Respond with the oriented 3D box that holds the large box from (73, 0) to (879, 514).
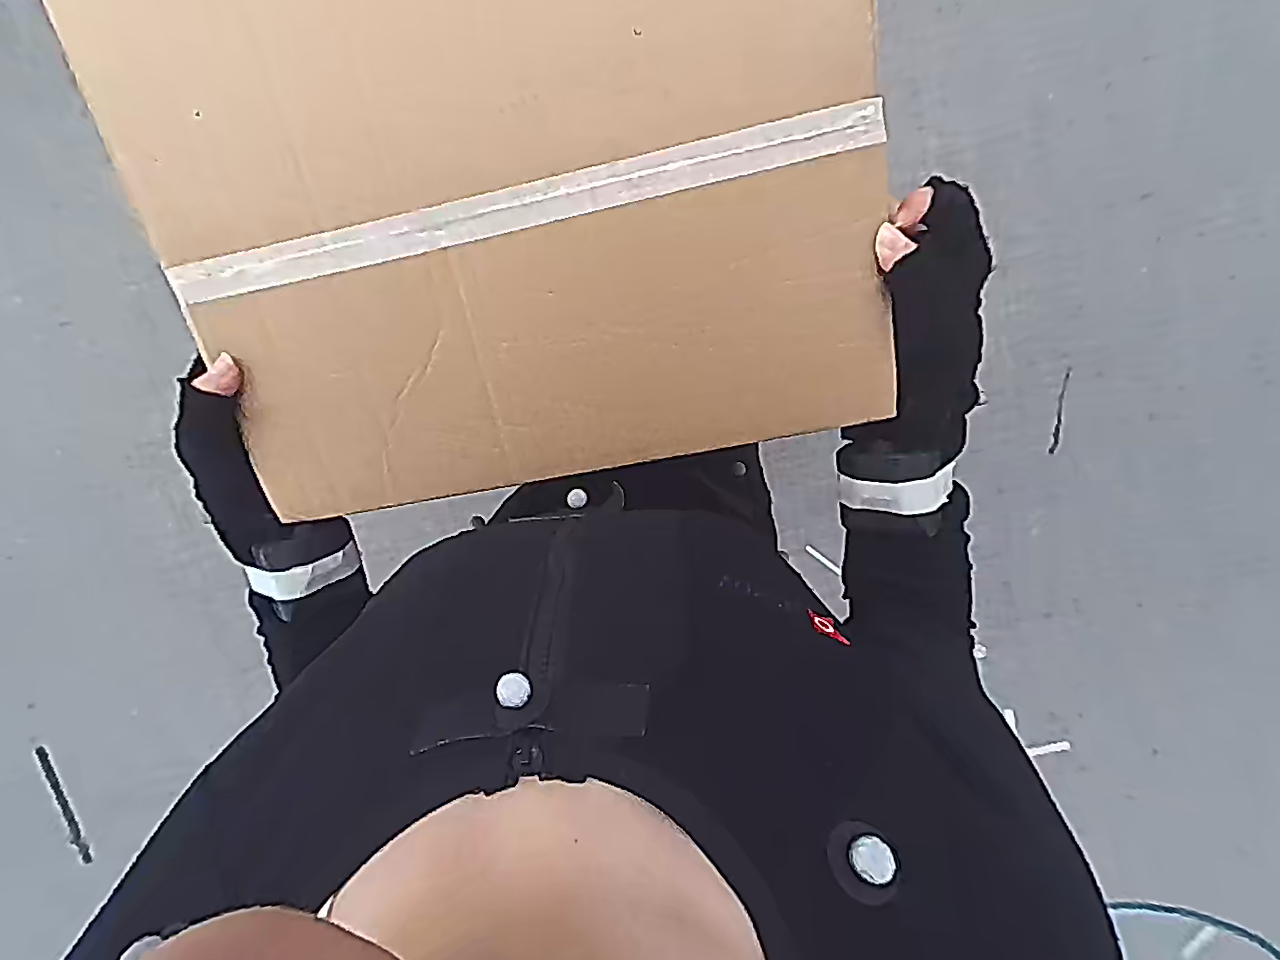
[{"bbox_3d":[-0.067,-0.203,0.448,0.408,0.320,0.320,-10,108,6],"label":"large box"}]
